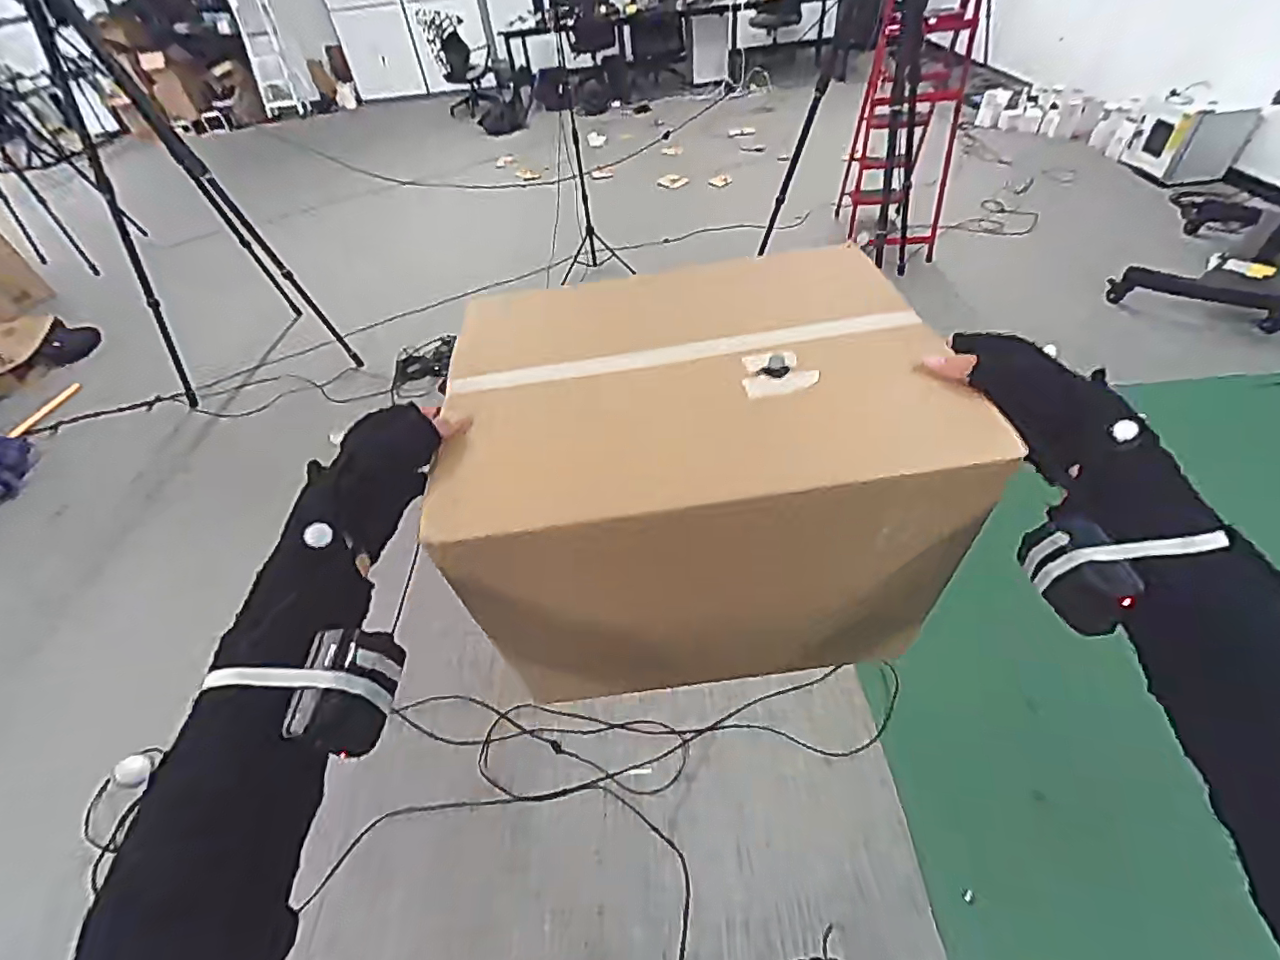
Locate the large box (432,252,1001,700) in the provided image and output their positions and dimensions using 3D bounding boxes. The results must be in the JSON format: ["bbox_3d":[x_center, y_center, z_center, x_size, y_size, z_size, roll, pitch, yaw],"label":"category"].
[{"bbox_3d":[0.049,0.001,0.574,0.408,0.320,0.320,-8,49,0],"label":"large box"}]
